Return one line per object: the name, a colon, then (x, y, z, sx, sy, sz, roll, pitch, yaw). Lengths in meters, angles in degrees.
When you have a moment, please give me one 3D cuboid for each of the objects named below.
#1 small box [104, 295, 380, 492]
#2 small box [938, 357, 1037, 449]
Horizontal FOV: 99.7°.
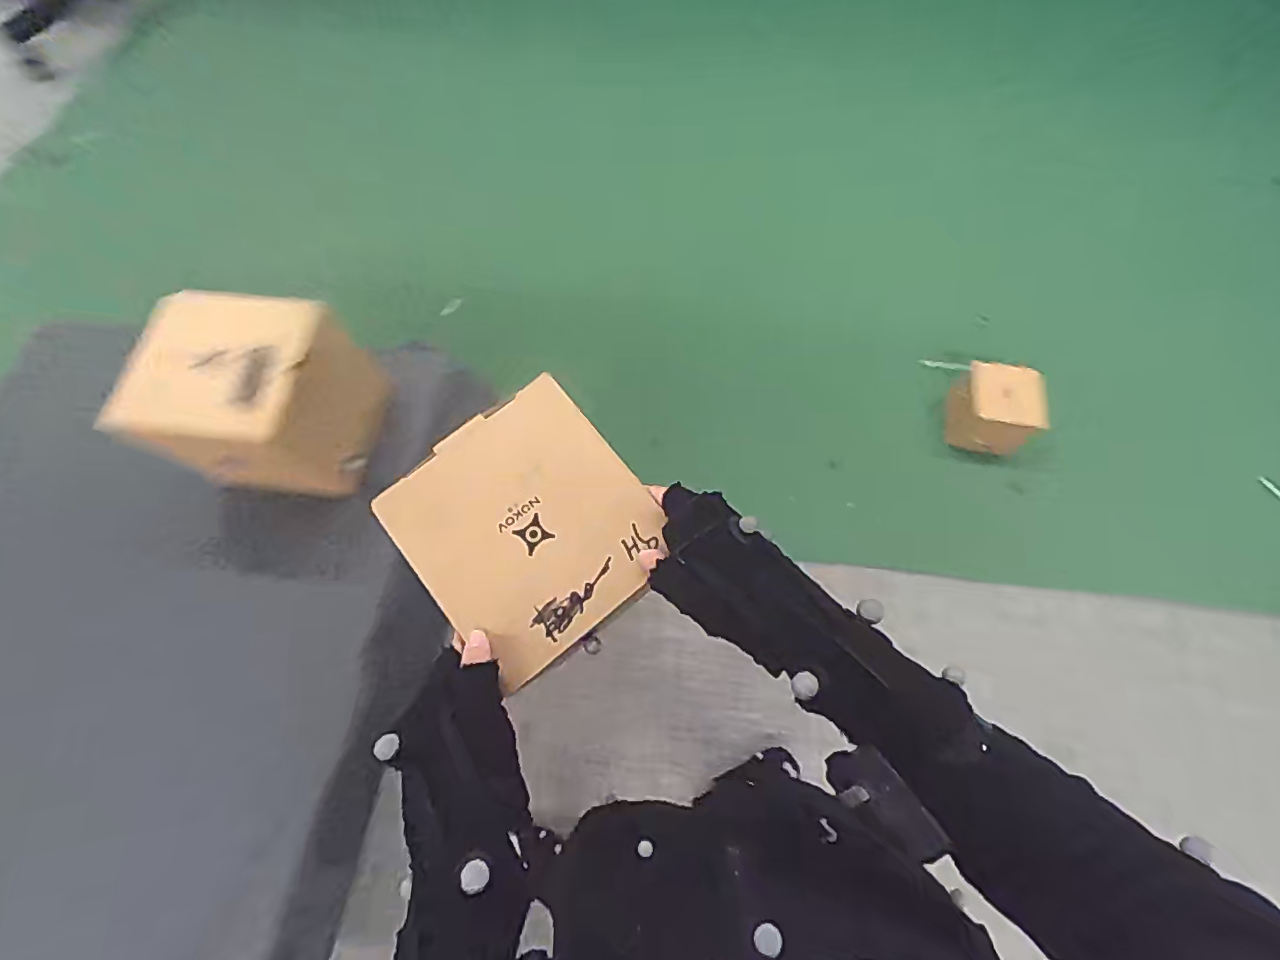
small box: (-0.442, -0.091, 0.640, 0.179, 0.176, 0.168, 5, 69, 4)
small box: (0.937, -0.207, 1.475, 0.168, 0.176, 0.179, 8, 69, 5)
